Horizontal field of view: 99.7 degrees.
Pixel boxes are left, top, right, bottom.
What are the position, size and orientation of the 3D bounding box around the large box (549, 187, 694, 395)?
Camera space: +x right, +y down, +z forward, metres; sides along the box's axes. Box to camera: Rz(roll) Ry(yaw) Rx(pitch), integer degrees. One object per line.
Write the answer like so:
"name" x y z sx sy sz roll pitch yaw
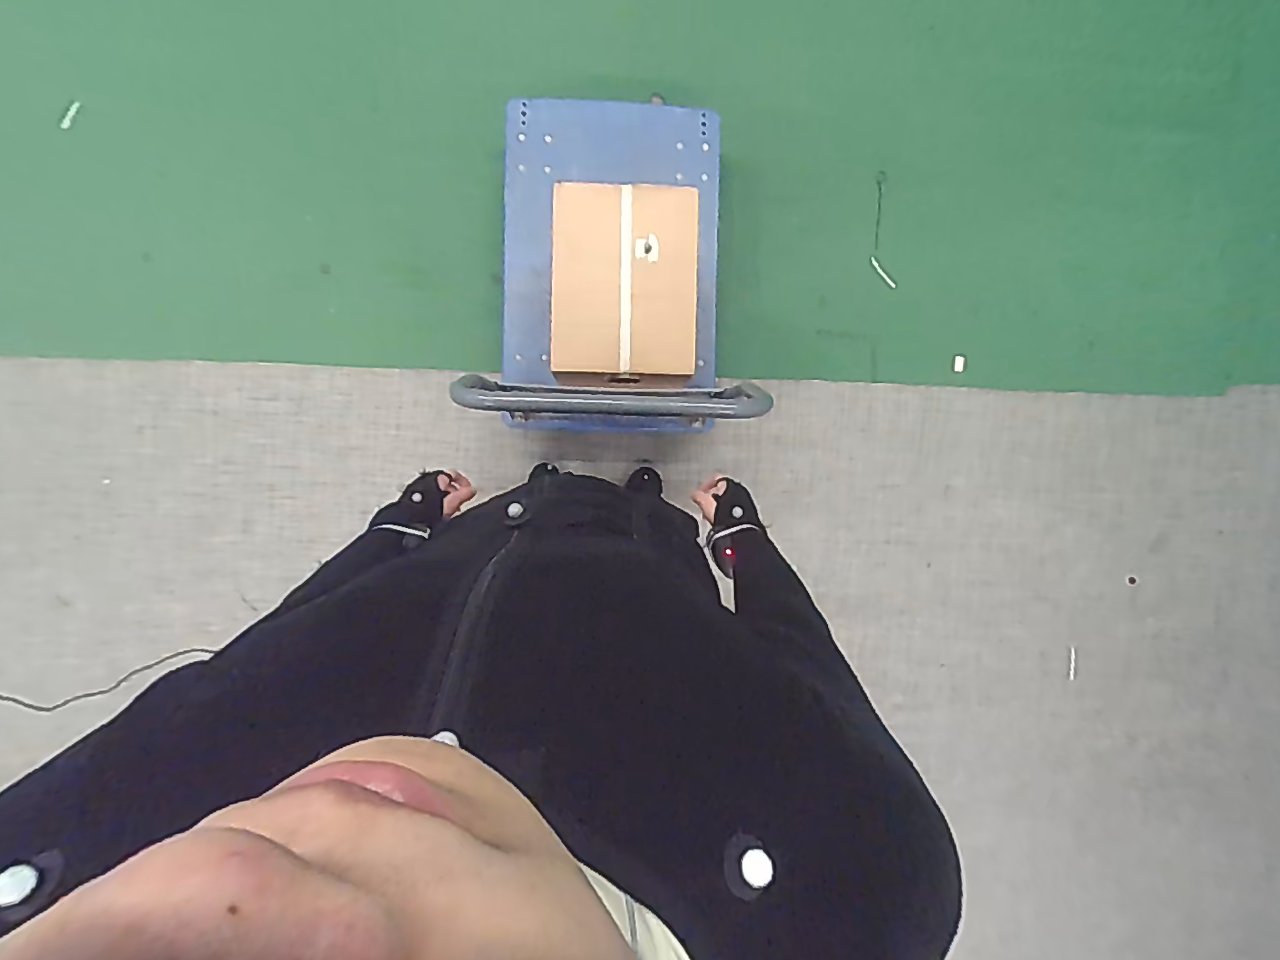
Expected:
"large box" -0.047 -0.427 1.309 0.320 0.320 0.408 1 90 -4
